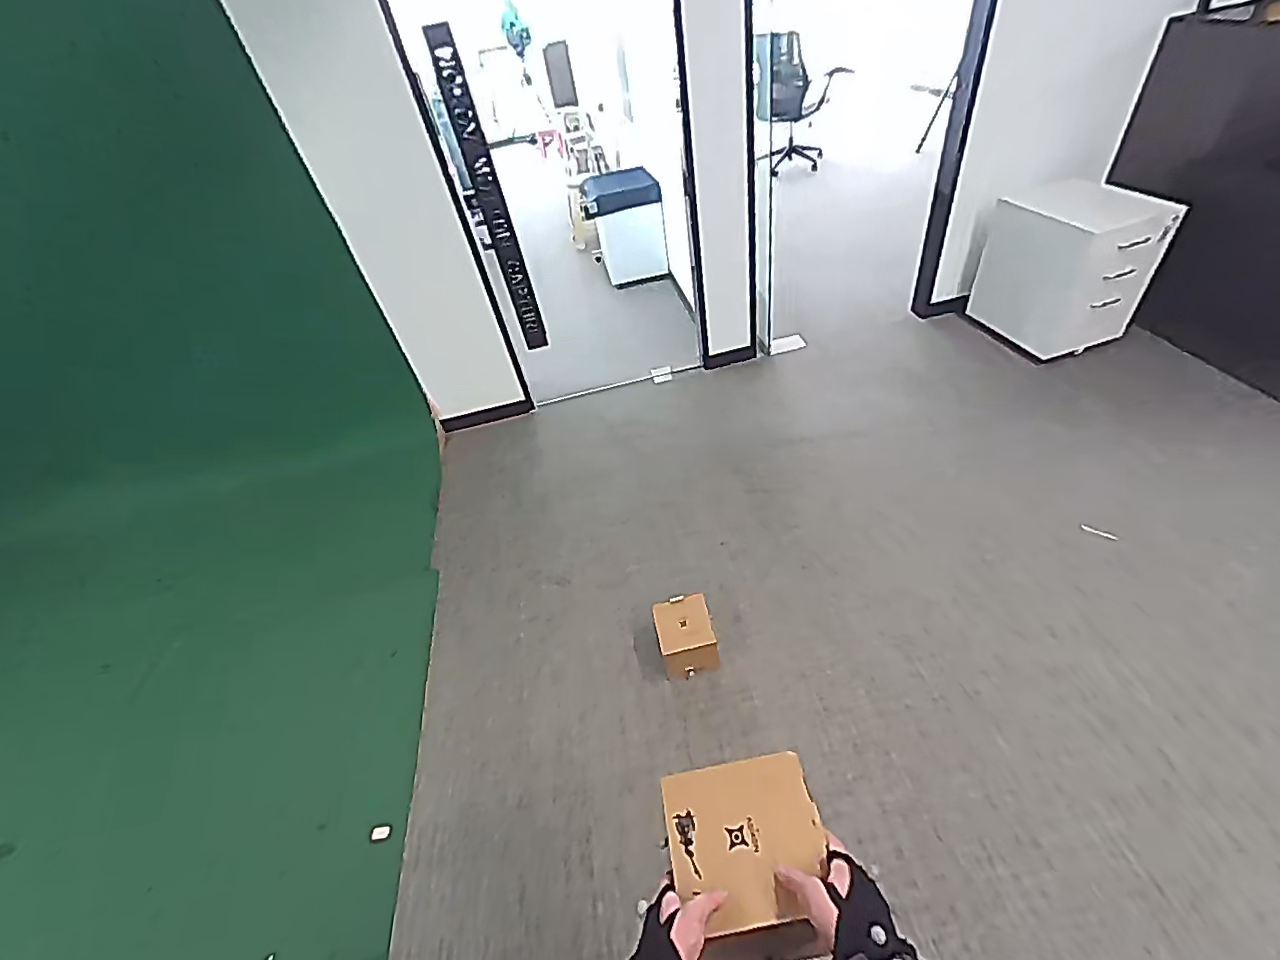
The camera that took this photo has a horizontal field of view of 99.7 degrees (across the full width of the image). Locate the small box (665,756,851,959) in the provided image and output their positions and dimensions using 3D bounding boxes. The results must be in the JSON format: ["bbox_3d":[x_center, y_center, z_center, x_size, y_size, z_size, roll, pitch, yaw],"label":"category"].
[{"bbox_3d":[0.134,0.469,0.661,0.179,0.176,0.168,-11,37,1],"label":"small box"}]

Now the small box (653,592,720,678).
[{"bbox_3d":[0.142,0.477,1.660,0.168,0.176,0.179,-13,43,2],"label":"small box"}]
